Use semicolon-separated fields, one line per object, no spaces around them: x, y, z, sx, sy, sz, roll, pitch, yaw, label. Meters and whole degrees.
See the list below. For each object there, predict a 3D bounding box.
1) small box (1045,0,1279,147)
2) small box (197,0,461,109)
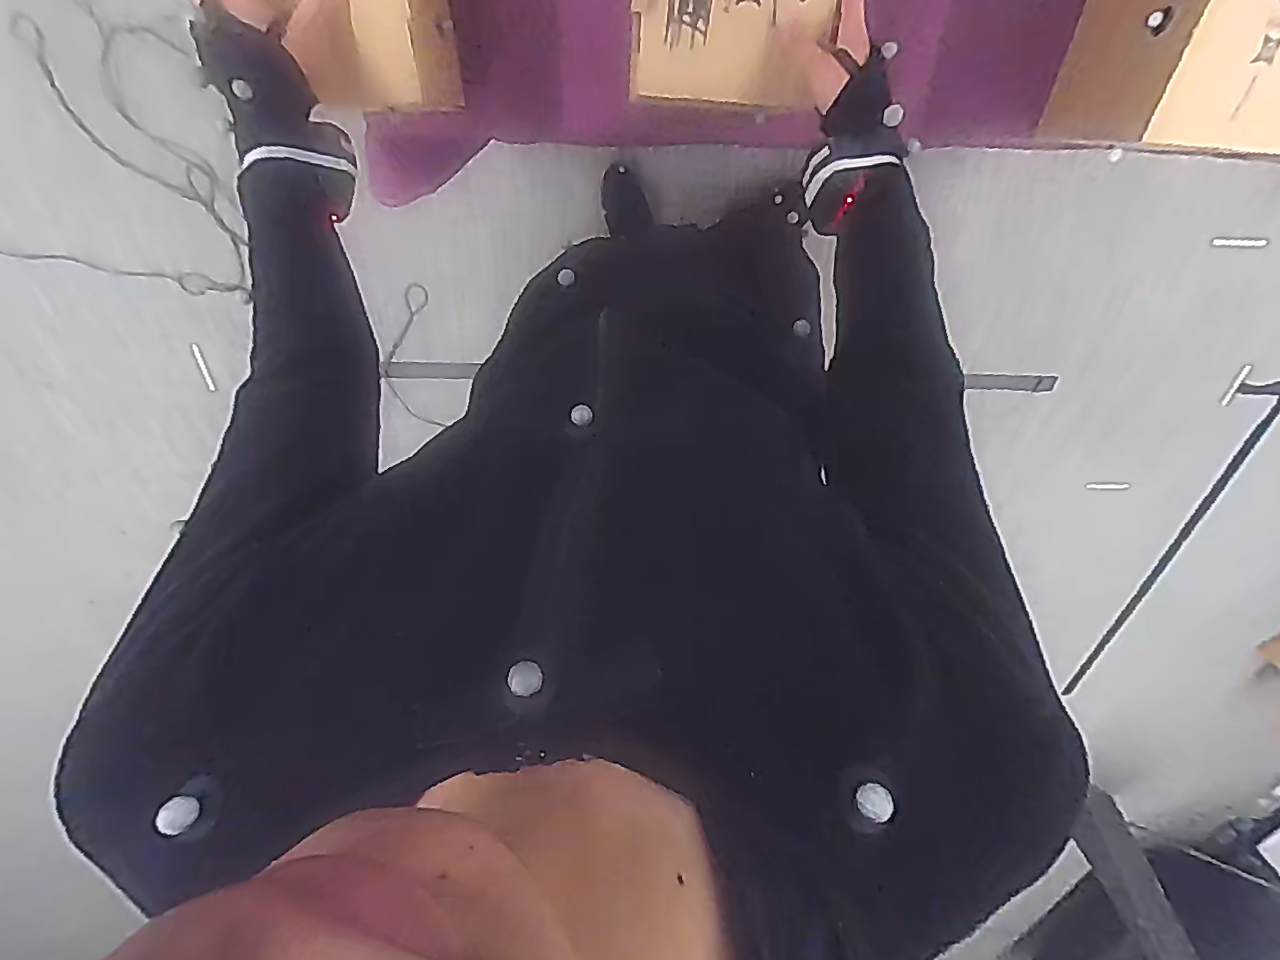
0.576;-0.454;0.559;0.168;0.176;0.179;2;124;-4;small box
-0.289;-0.457;0.515;0.179;0.176;0.168;-4;123;-2;small box
